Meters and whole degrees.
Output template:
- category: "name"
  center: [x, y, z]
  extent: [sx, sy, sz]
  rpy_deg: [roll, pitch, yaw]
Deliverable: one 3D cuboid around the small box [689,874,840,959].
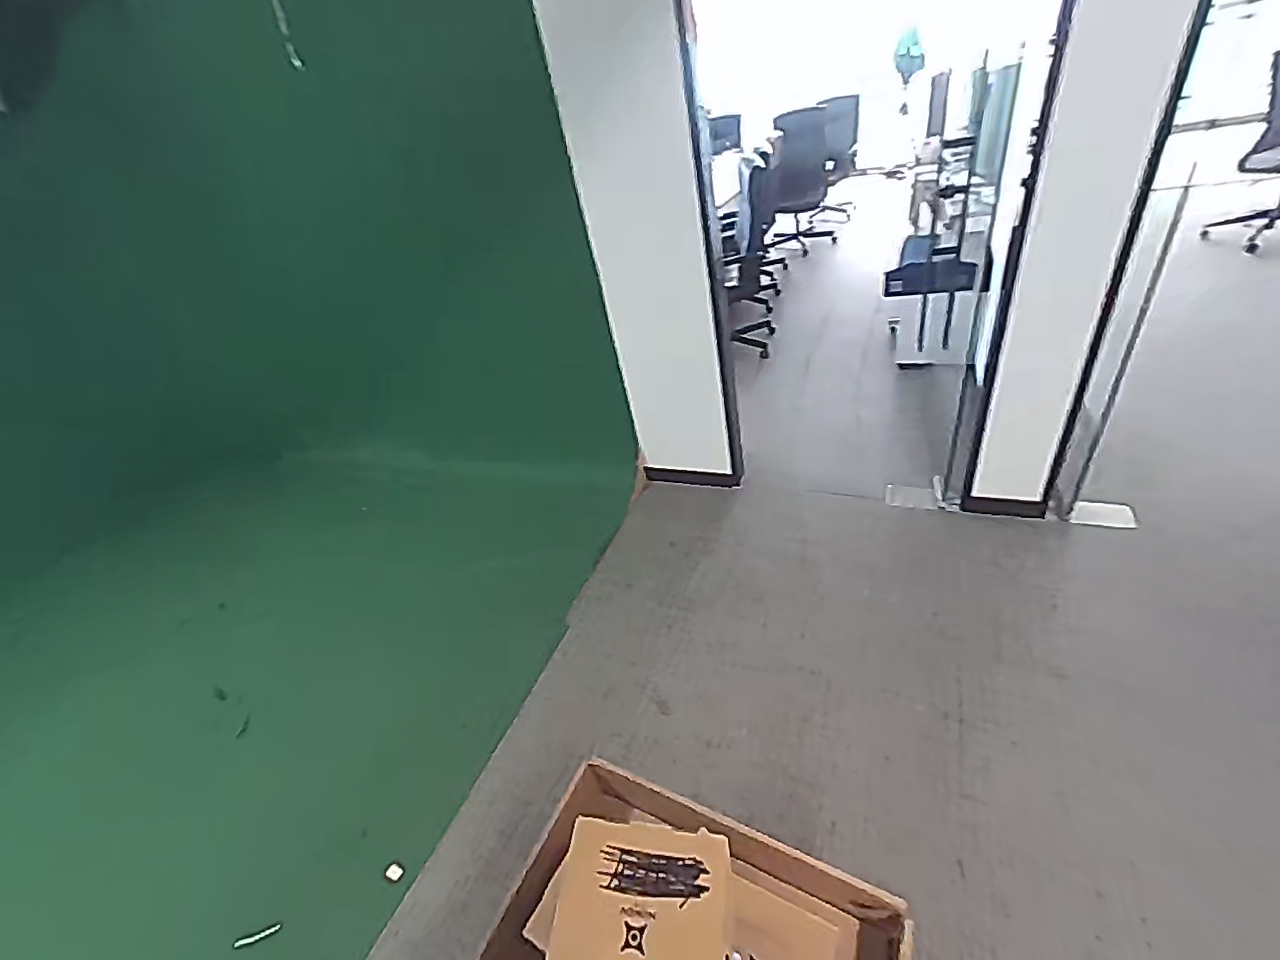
- category: "small box"
  center: [0.156, 0.674, 0.705]
  extent: [0.168, 0.176, 0.179]
  rpy_deg: [11, 42, 29]
